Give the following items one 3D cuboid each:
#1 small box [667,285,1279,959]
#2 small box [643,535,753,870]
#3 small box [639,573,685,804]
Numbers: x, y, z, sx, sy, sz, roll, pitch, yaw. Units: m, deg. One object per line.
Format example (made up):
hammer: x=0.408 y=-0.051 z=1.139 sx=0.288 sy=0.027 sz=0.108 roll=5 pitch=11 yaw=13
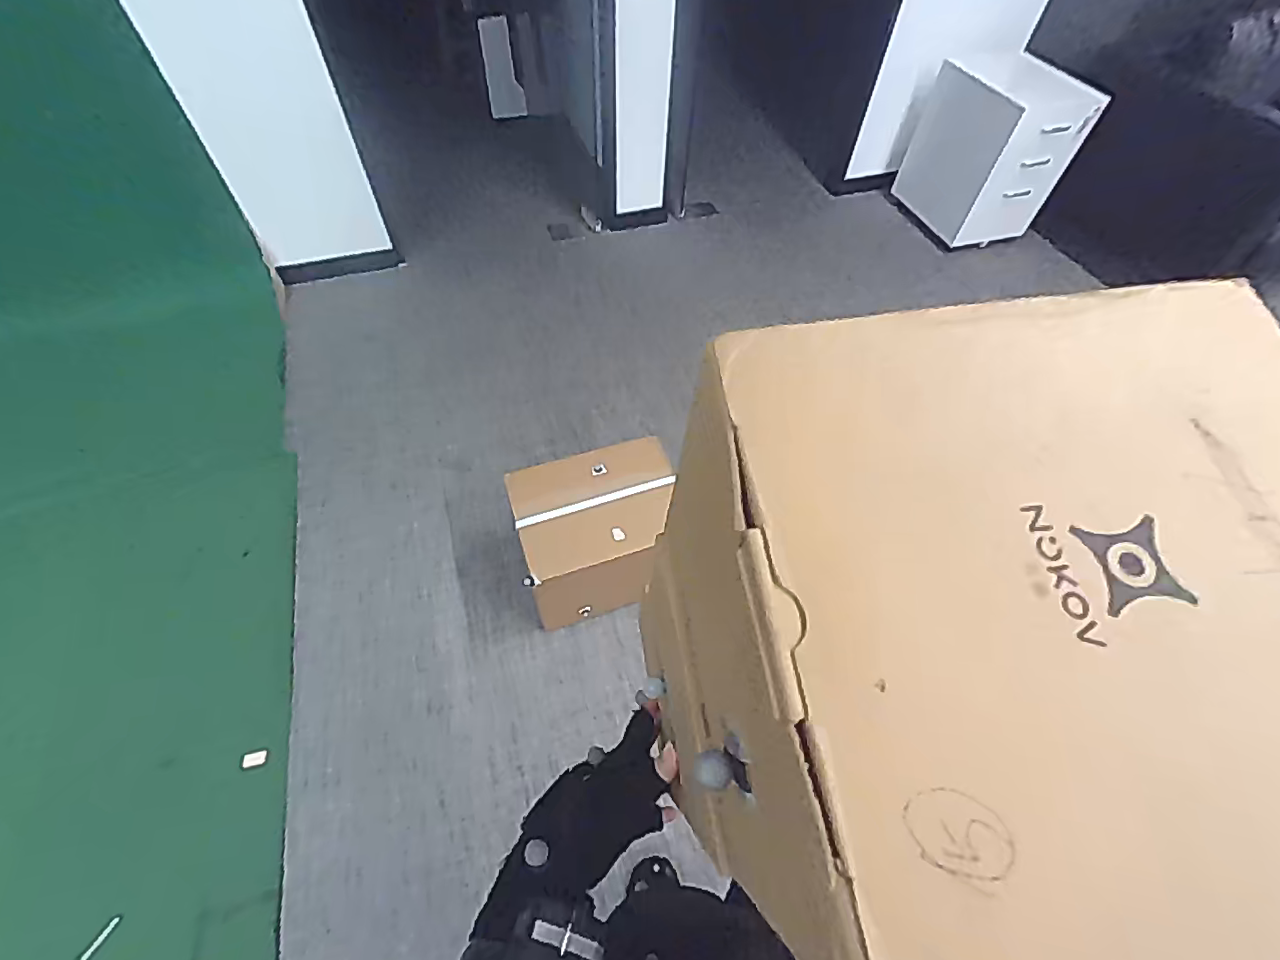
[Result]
small box: x=0.108 y=0.051 z=0.214 sx=0.179 sy=0.176 sz=0.168 roll=-7 pitch=68 yaw=-6
small box: x=0.105 y=0.123 z=0.360 sx=0.179 sy=0.176 sz=0.168 roll=-10 pitch=67 yaw=-7
small box: x=0.090 y=0.184 z=0.513 sx=0.168 sy=0.176 sz=0.179 roll=-6 pitch=67 yaw=-5
